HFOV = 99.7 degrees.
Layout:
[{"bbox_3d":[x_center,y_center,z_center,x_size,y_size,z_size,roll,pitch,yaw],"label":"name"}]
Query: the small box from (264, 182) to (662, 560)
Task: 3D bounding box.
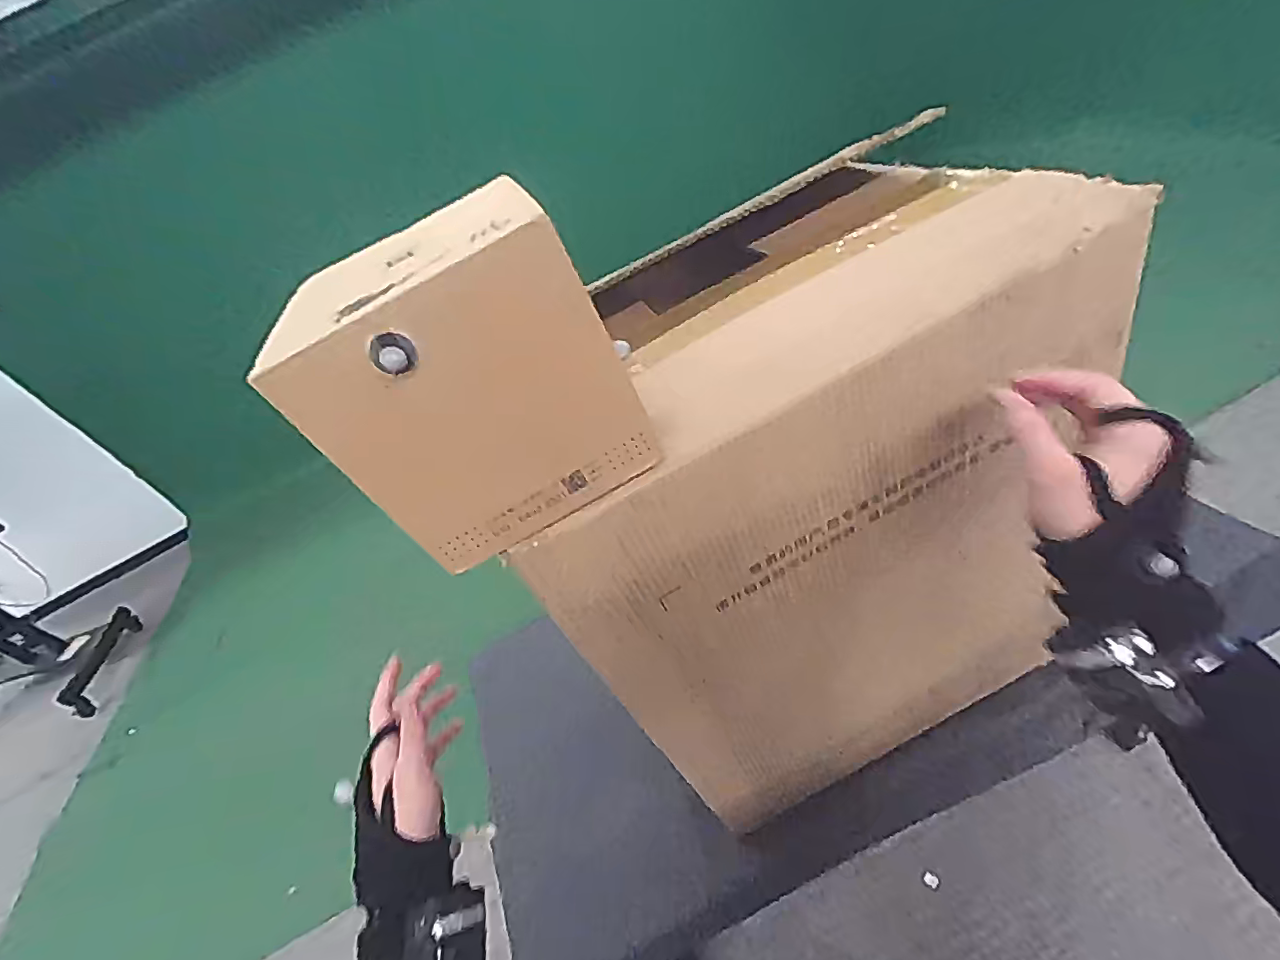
[{"bbox_3d":[-0.107,-0.079,0.380,0.168,0.176,0.179,-30,38,1],"label":"small box"}]
